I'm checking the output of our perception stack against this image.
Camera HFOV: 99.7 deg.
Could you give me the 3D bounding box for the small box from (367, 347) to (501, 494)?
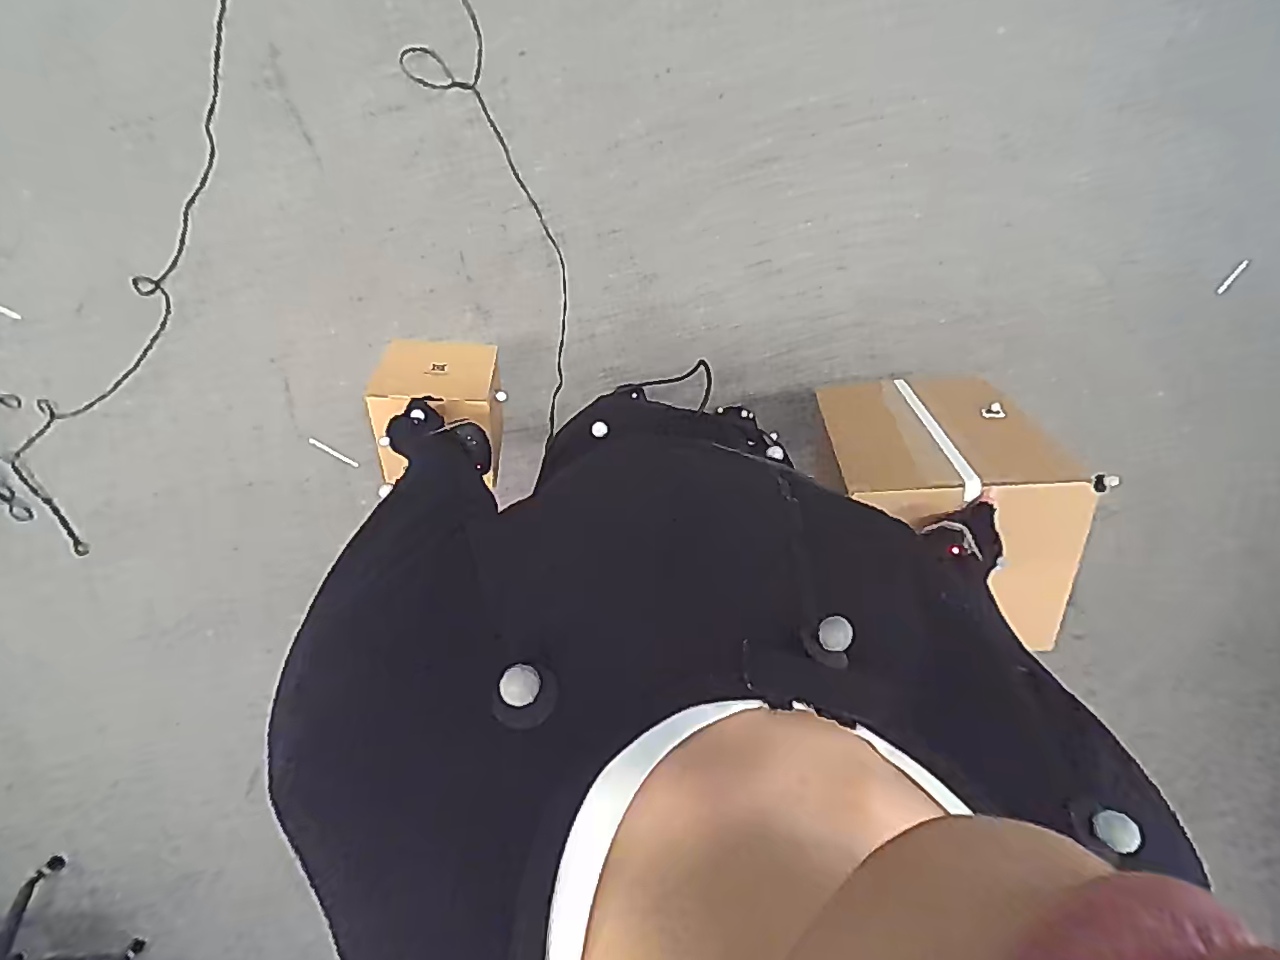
[{"bbox_3d":[-0.318,-0.097,0.877,0.168,0.179,0.176,0,129,-9],"label":"small box"}]
